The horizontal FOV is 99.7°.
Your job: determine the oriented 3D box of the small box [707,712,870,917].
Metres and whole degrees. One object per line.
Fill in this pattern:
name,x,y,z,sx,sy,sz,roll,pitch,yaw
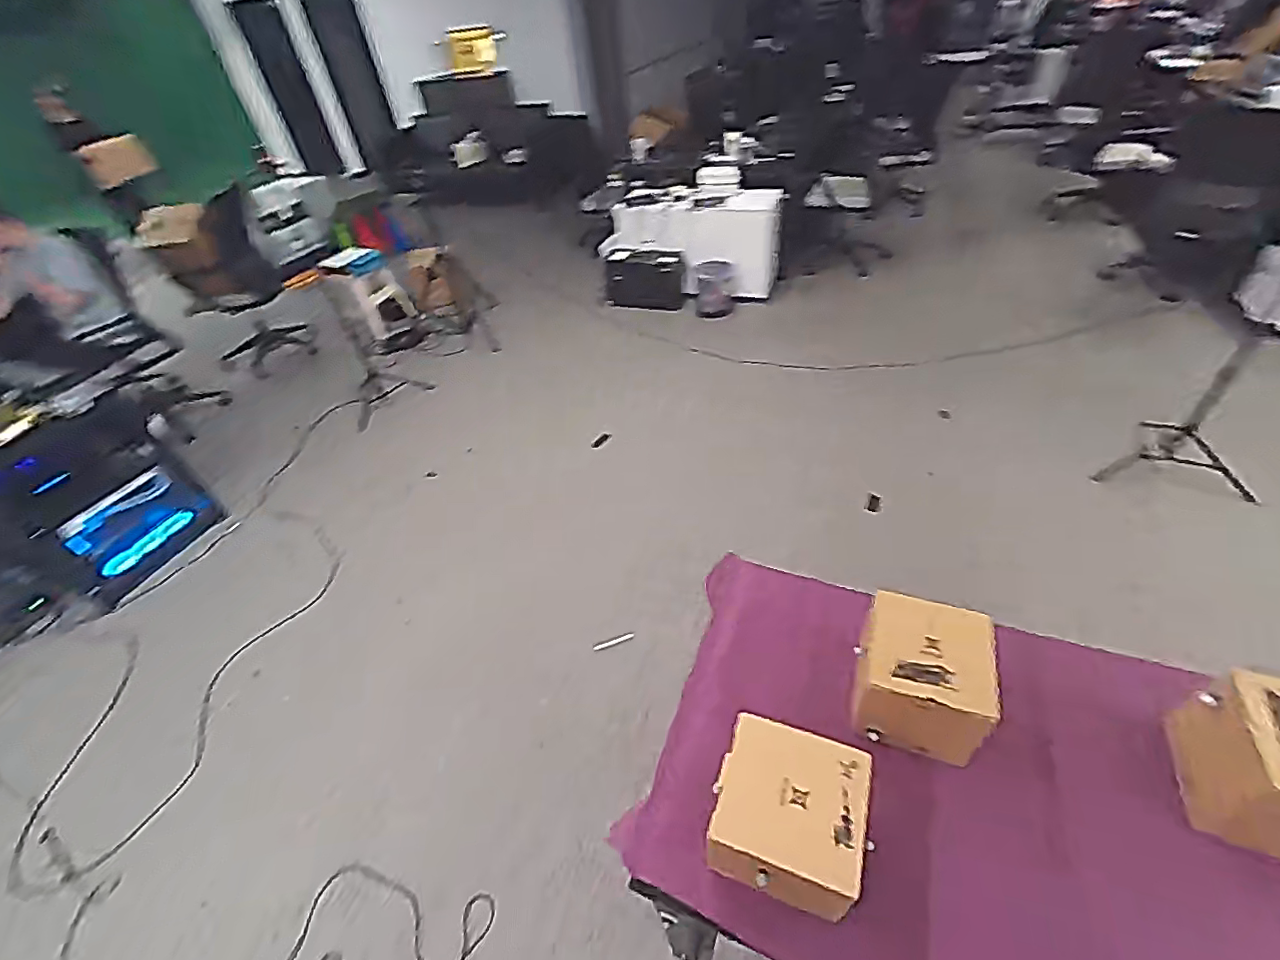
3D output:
small box,0.200,0.455,0.737,0.179,0.176,0.168,11,46,21

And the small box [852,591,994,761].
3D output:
small box,0.441,0.312,0.859,0.168,0.176,0.179,11,45,19
